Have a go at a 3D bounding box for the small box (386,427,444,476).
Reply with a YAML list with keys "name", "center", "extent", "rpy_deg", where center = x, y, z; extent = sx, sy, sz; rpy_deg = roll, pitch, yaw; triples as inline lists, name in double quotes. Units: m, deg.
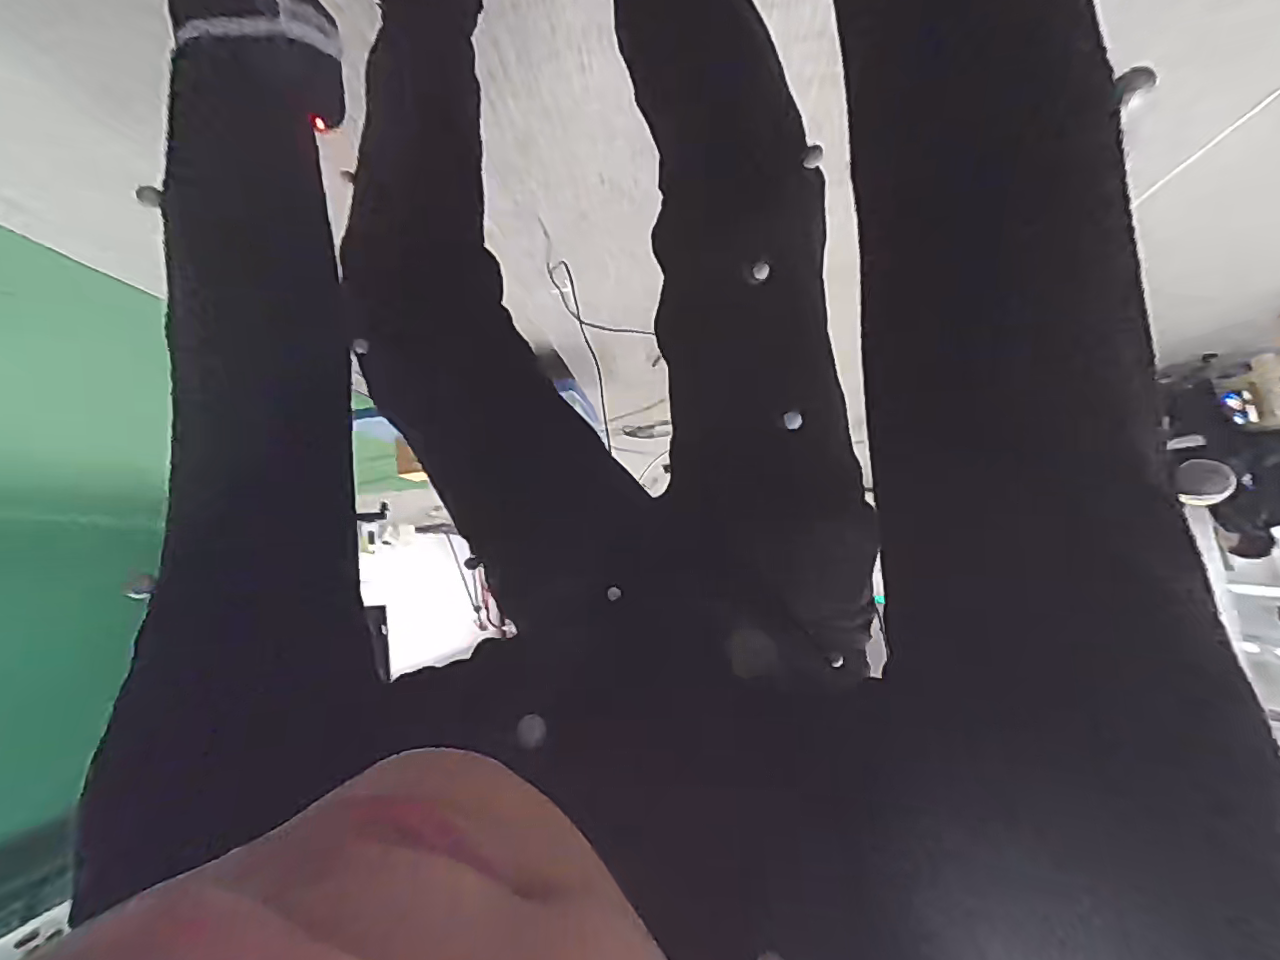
- name: "small box"
  center: [-0.946, -0.120, 2.269]
  extent: [0.179, 0.176, 0.168]
  rpy_deg: [-7, 172, 1]
